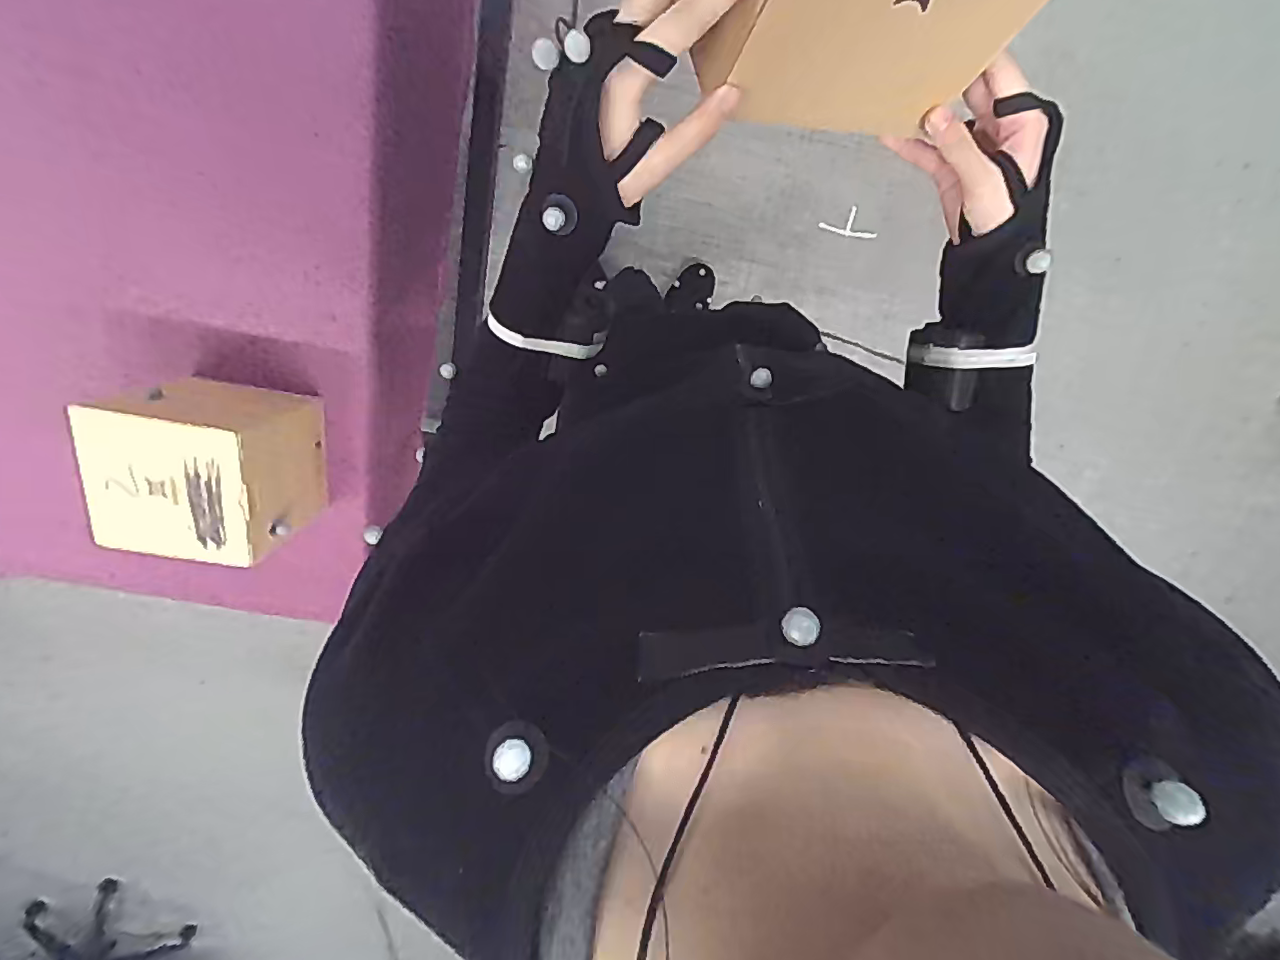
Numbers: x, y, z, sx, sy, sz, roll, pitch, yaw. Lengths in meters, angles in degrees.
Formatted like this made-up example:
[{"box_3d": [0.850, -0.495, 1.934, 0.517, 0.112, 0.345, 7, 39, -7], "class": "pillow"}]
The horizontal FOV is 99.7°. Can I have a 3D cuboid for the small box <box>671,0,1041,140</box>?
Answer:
[{"box_3d": [0.115, -0.318, 0.271, 0.168, 0.179, 0.176, -8, 78, -21], "class": "small box"}]
